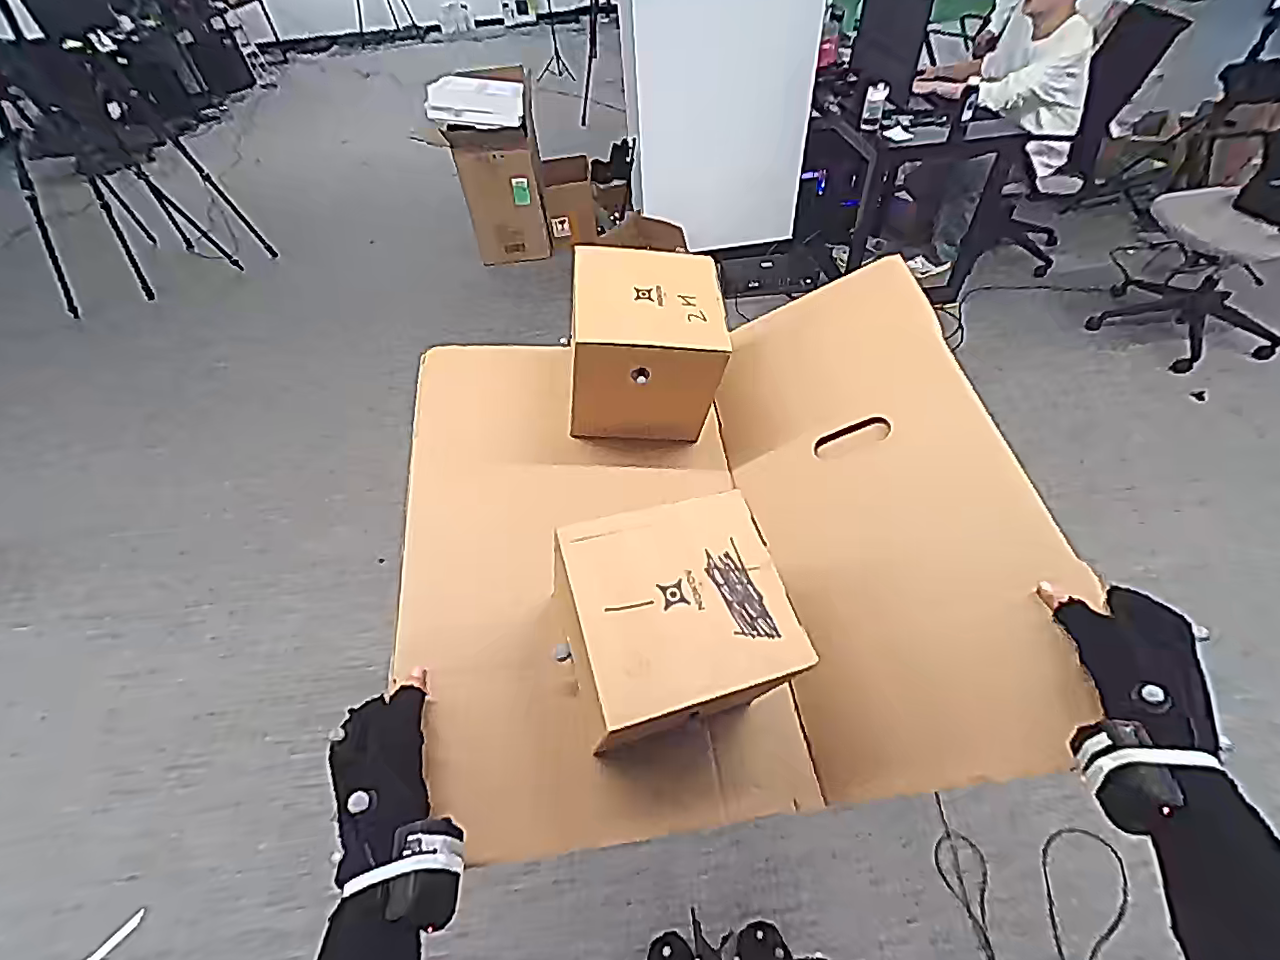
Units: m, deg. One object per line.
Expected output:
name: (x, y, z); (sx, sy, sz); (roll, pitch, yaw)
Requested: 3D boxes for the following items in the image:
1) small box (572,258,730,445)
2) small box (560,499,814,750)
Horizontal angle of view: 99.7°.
small box: (0.002, -0.159, 0.701); (0.179, 0.176, 0.168); (2, 58, -9)
small box: (0.026, 0.141, 0.515); (0.179, 0.176, 0.168); (-11, 61, -15)
